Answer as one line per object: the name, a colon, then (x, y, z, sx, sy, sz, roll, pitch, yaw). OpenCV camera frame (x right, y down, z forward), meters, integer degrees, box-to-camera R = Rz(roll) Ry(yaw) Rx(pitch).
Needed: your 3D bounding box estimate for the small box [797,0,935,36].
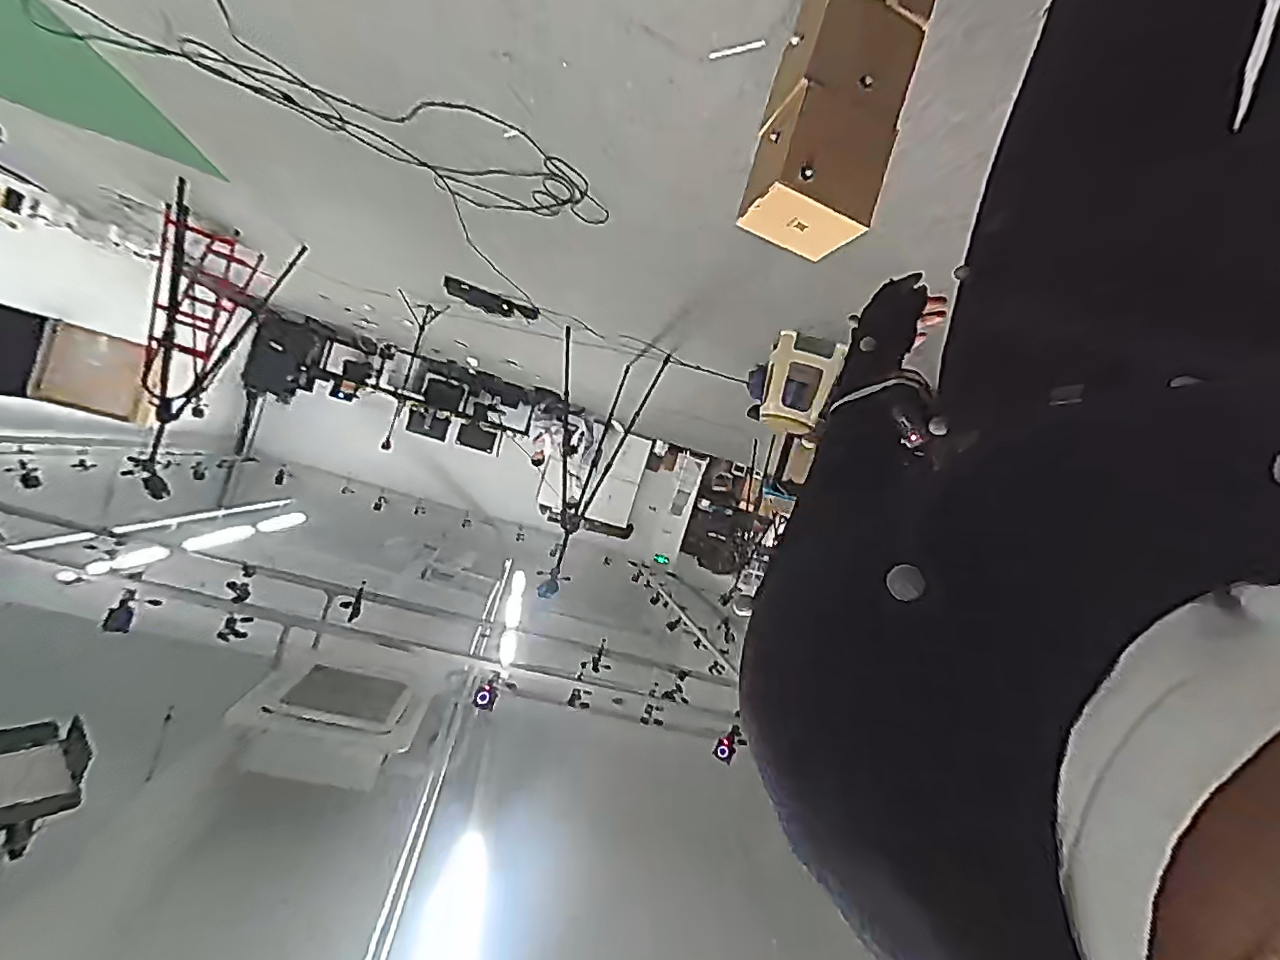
small box: (0.386, -0.828, 0.918, 0.168, 0.176, 0.179, 18, 179, -14)

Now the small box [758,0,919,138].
small box: (0.336, -0.671, 0.923, 0.179, 0.176, 0.168, 18, 179, -15)

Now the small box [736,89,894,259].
small box: (0.296, -0.513, 0.923, 0.179, 0.176, 0.168, 18, 180, -14)
